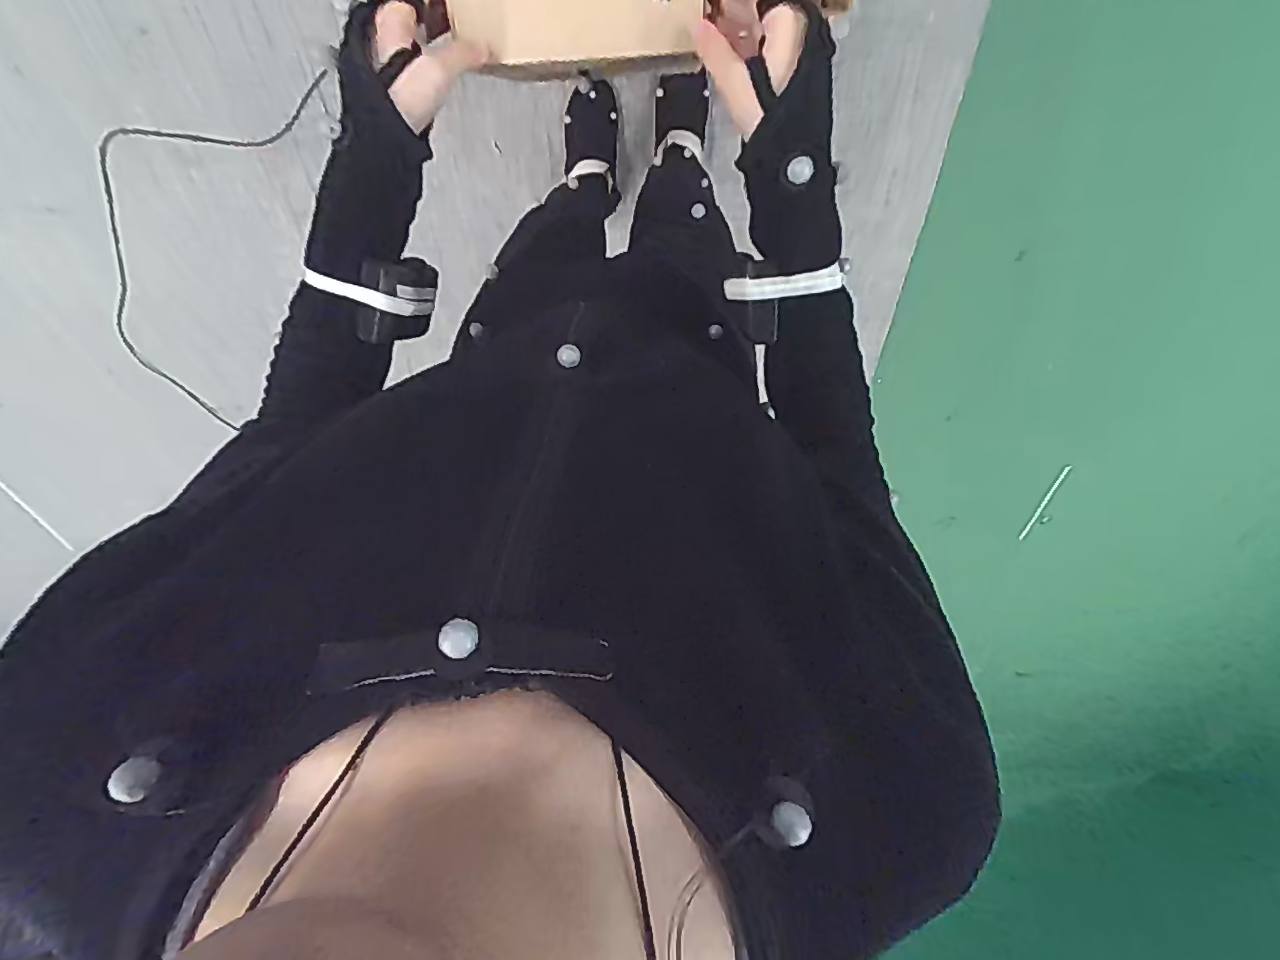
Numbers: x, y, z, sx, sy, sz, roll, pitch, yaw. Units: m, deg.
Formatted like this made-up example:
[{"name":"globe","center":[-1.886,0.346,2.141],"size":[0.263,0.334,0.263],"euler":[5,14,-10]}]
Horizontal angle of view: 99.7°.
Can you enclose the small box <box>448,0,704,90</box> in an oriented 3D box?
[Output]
[{"name":"small box","center":[-0.041,-0.401,0.407],"size":[0.179,0.176,0.168],"euler":[0,123,5]}]

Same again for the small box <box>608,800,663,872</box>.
[{"name":"small box","center":[-0.011,1.210,1.839],"size":[0.179,0.176,0.168],"euler":[-3,132,1]}]
